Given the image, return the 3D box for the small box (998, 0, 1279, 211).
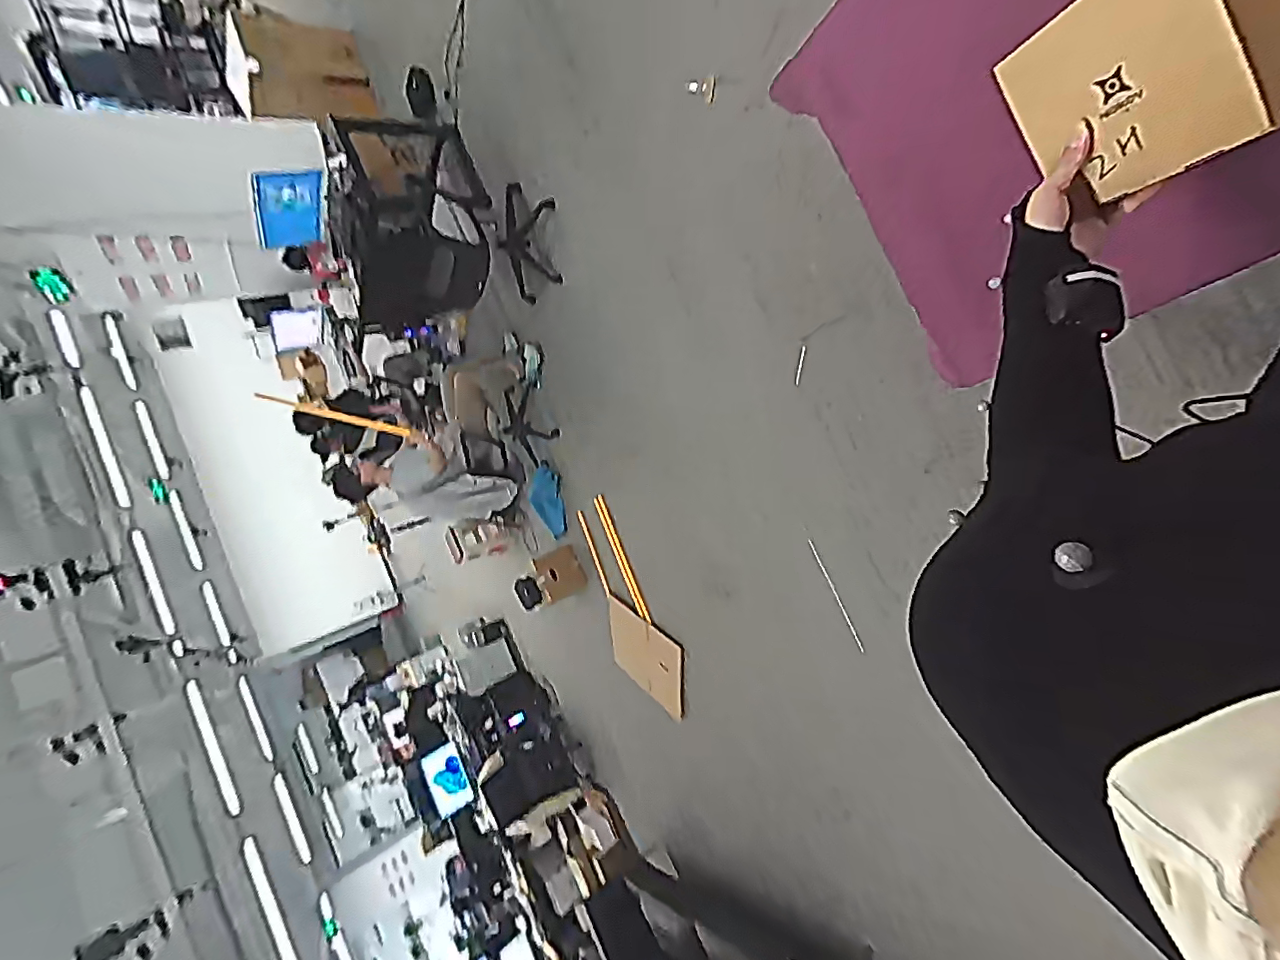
[{"bbox_3d":[0.488,-0.395,0.494,0.179,0.176,0.168,56,171,-10],"label":"small box"}]
